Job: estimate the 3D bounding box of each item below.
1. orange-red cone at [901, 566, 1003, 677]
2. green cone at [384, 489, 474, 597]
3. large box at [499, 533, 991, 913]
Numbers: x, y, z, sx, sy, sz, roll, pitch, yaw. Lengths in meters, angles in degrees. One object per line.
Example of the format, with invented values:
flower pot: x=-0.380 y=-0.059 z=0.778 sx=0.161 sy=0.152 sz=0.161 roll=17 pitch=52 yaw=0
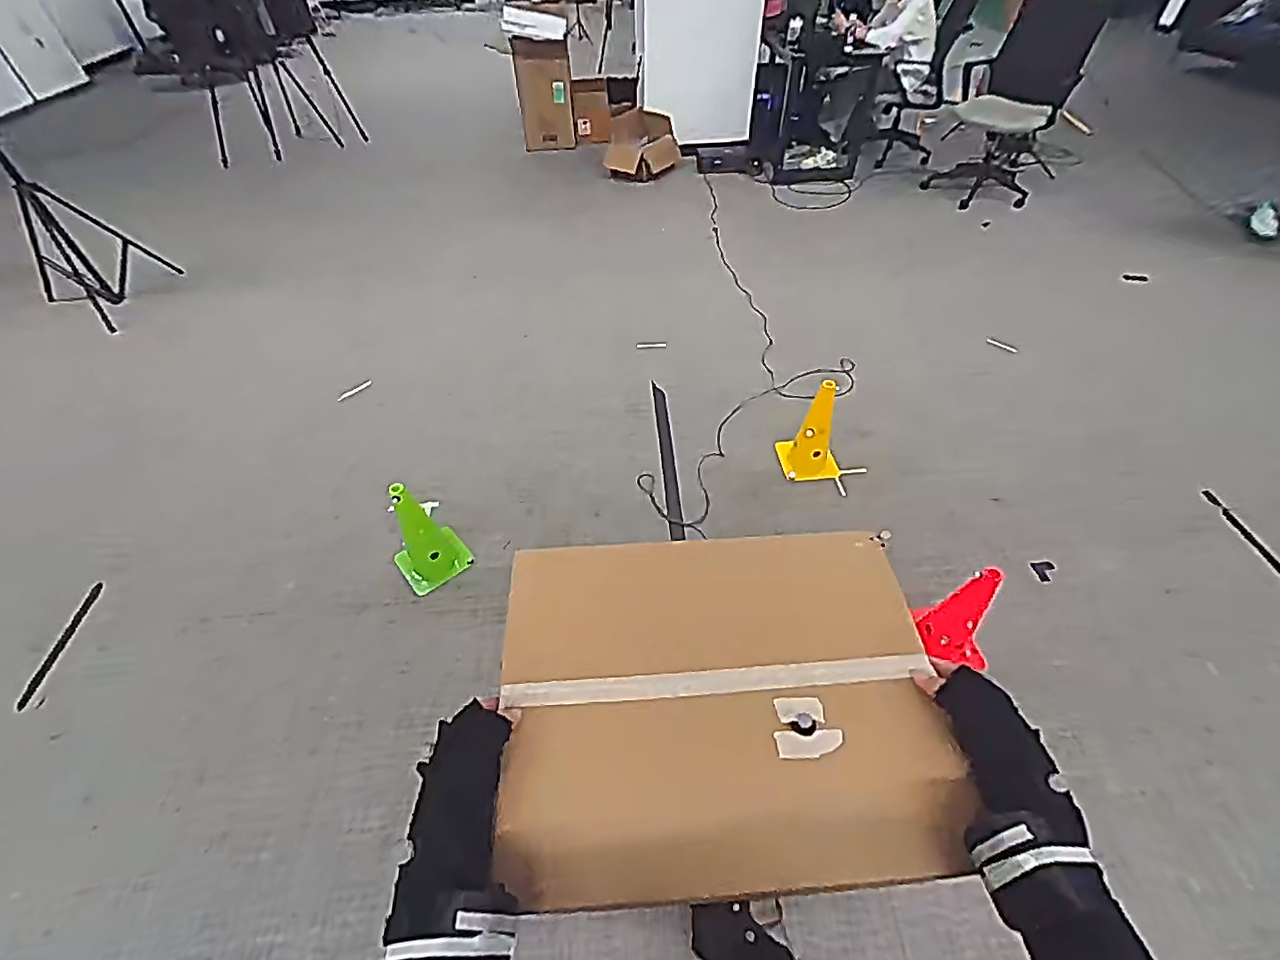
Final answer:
orange-red cone: x=0.839 y=0.337 z=1.403 sx=0.198 sy=0.360 sz=0.199 roll=-5 pitch=46 yaw=-4
green cone: x=-0.672 y=0.151 z=1.621 sx=0.202 sy=0.368 sz=0.200 roll=-35 pitch=55 yaw=-25
large box: x=0.074 y=0.285 z=0.630 sx=0.408 sy=0.320 sz=0.320 roll=-3 pitch=51 yaw=-3
